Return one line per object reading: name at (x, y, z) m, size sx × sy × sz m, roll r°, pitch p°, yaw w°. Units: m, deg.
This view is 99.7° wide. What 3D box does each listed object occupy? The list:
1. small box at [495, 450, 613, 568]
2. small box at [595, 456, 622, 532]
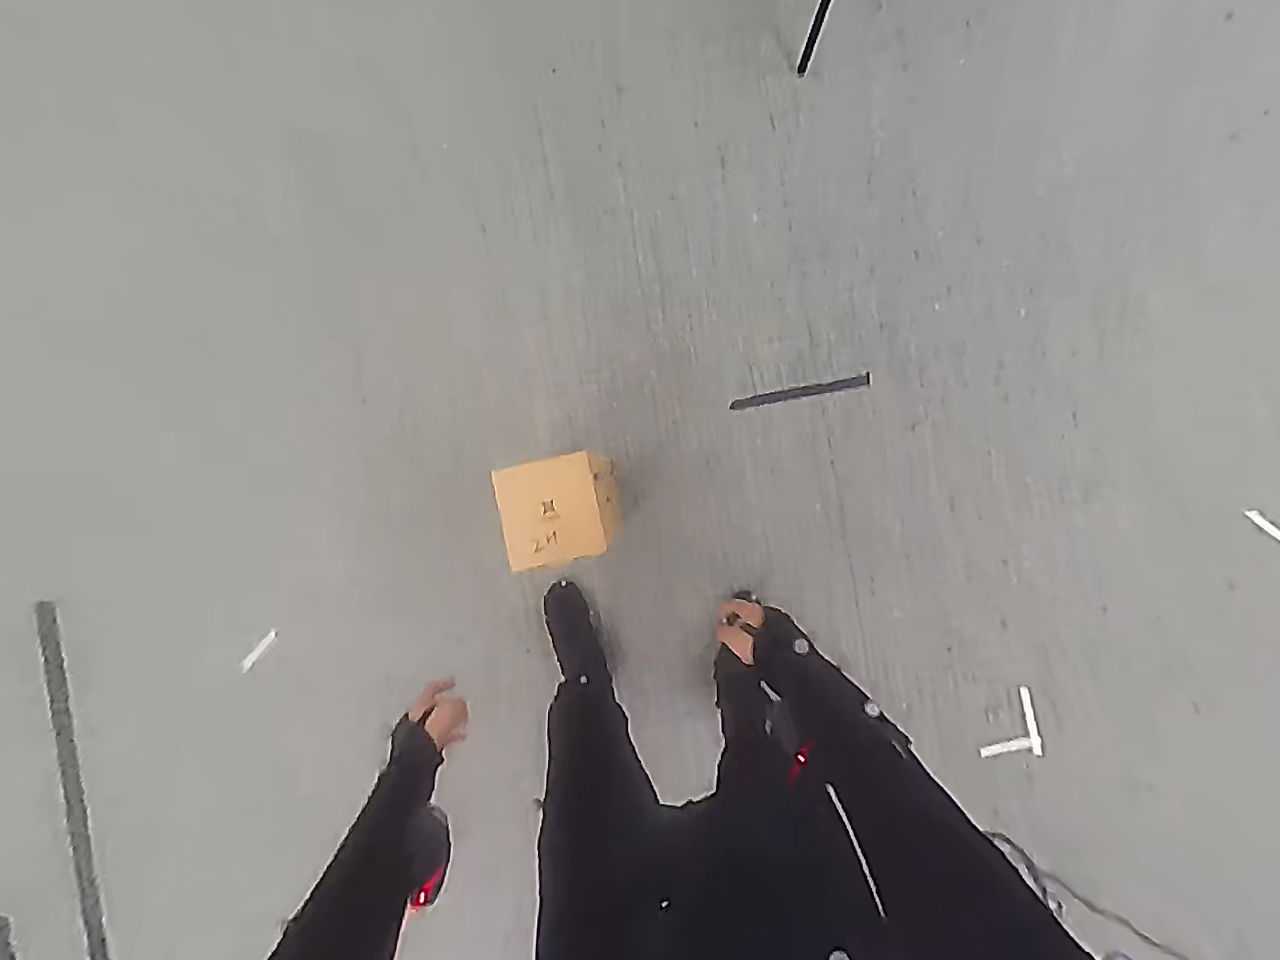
small box at (-0.147, 0.050, 0.983) m, size 0.168 × 0.176 × 0.179 m, roll -11°, pitch 90°, yaw 2°
small box at (-0.140, 0.048, 1.310) m, size 0.168 × 0.176 × 0.179 m, roll -12°, pitch 89°, yaw 1°
